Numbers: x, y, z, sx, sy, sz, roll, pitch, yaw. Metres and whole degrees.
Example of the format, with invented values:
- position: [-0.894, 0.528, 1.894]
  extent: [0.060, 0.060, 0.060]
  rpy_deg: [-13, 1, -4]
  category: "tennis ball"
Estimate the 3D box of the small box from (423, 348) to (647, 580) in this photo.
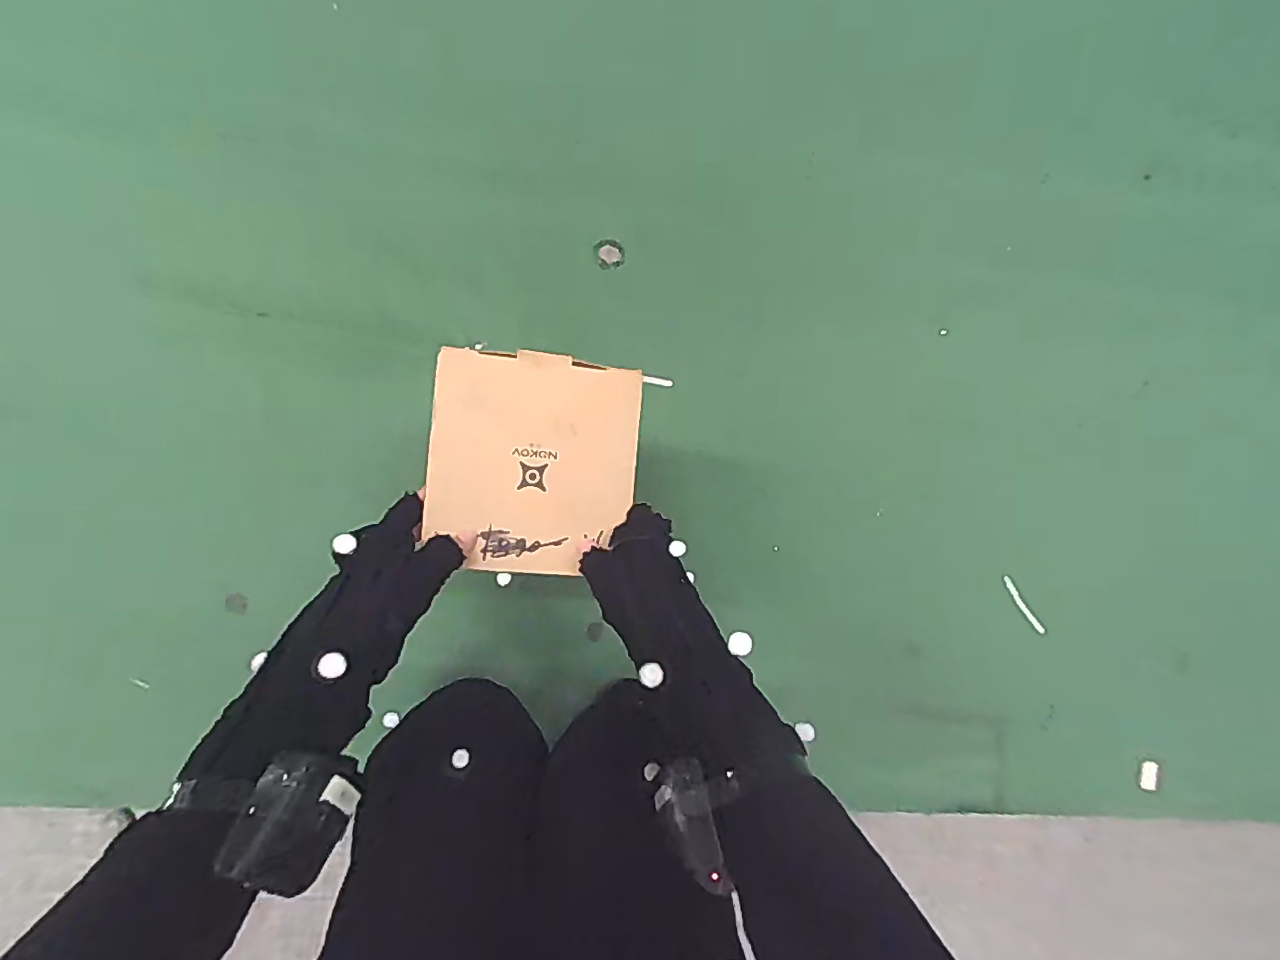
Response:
- position: [-0.095, -0.009, 0.515]
  extent: [0.168, 0.176, 0.179]
  rpy_deg: [6, 88, -10]
  category: "small box"
